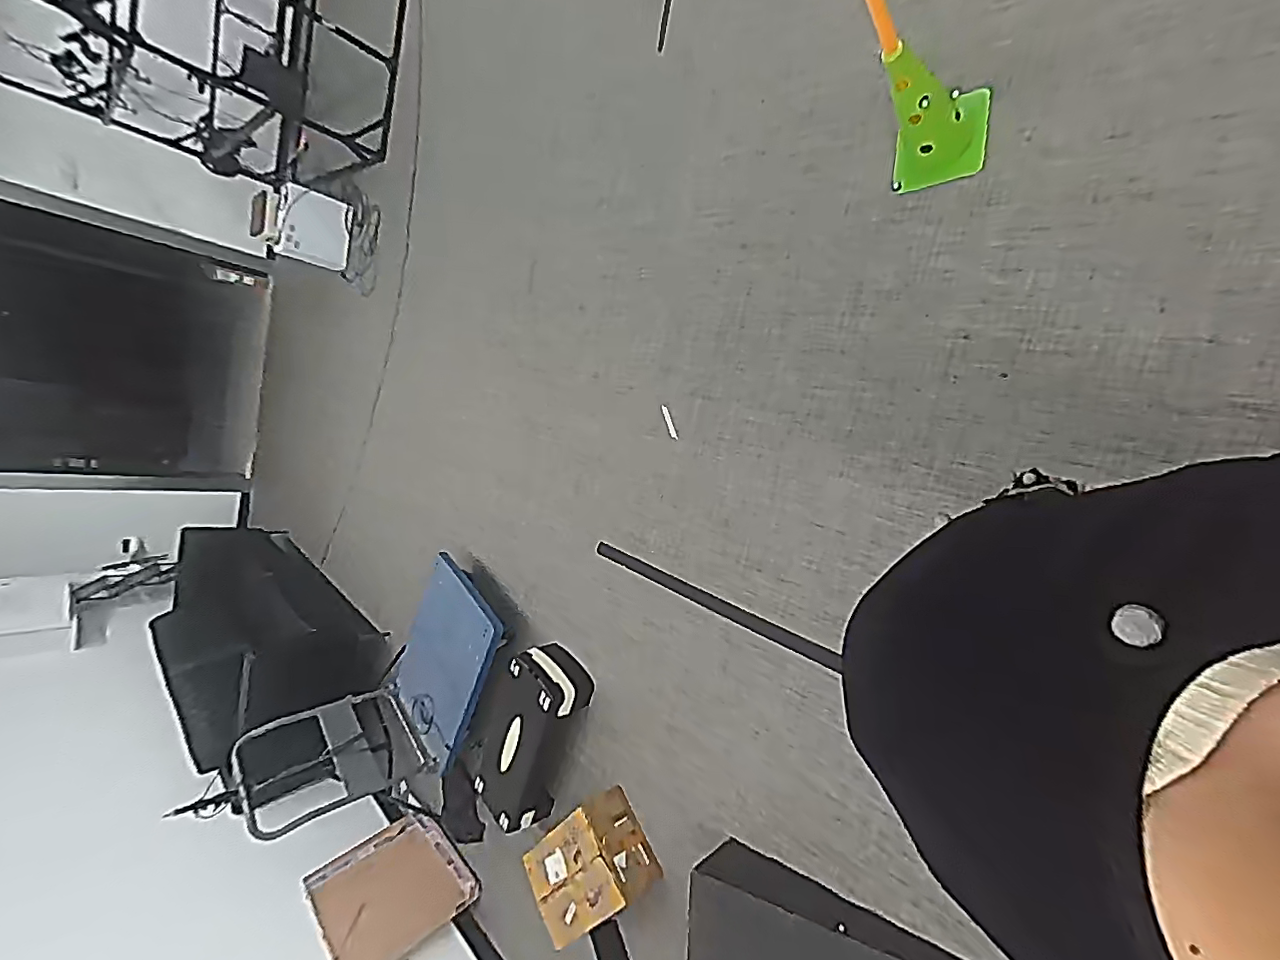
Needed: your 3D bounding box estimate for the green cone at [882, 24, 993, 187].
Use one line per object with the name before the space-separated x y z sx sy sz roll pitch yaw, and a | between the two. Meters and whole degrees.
green cone | 0.606 -0.833 1.165 0.200 0.368 0.202 5 89 42
